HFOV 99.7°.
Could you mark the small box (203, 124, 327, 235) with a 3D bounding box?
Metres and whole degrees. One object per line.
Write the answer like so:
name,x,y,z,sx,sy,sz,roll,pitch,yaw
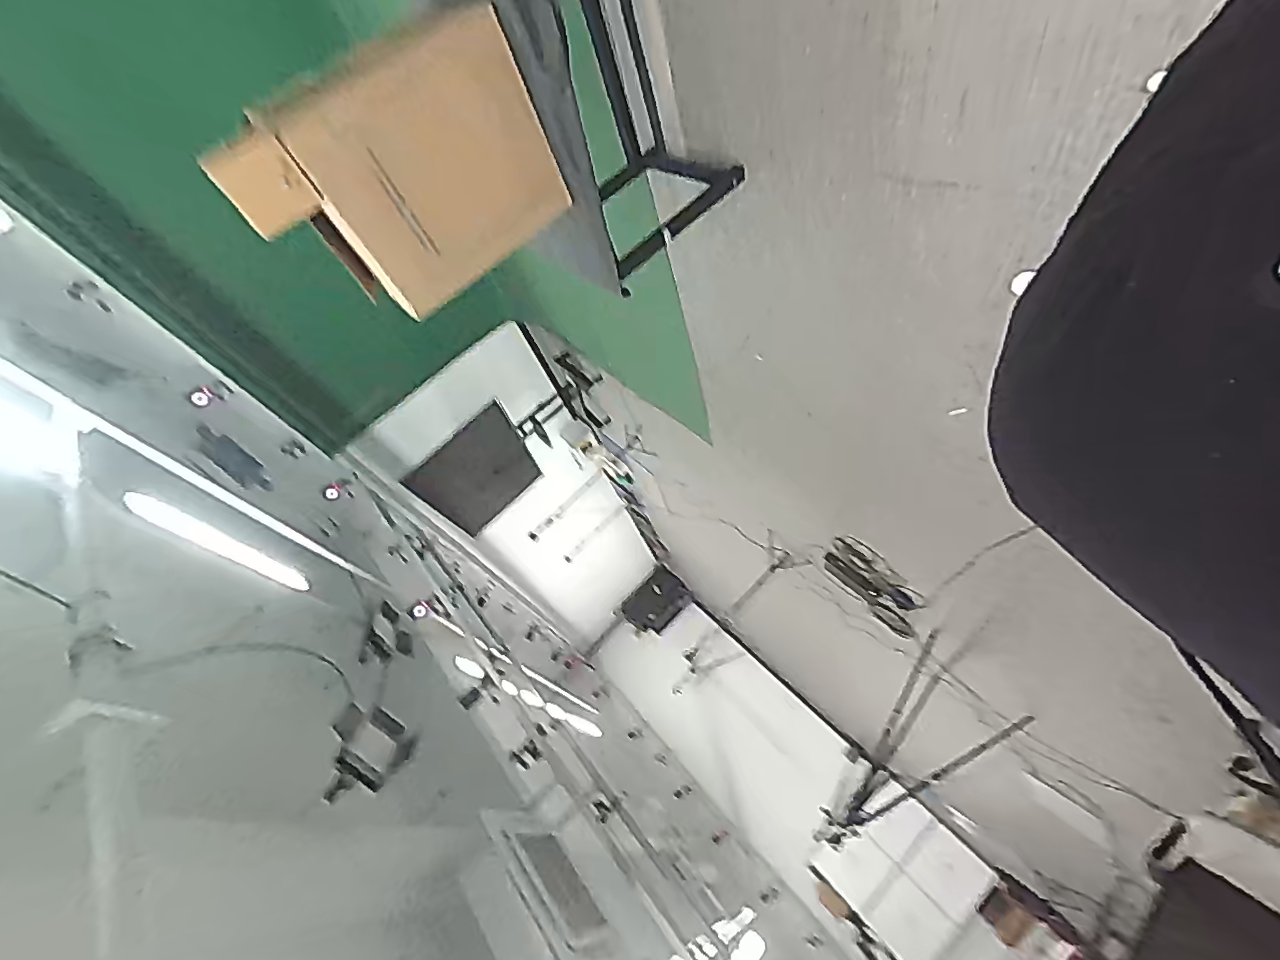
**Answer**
small box,-0.899,-0.731,1.307,0.179,0.176,0.168,37,163,37
